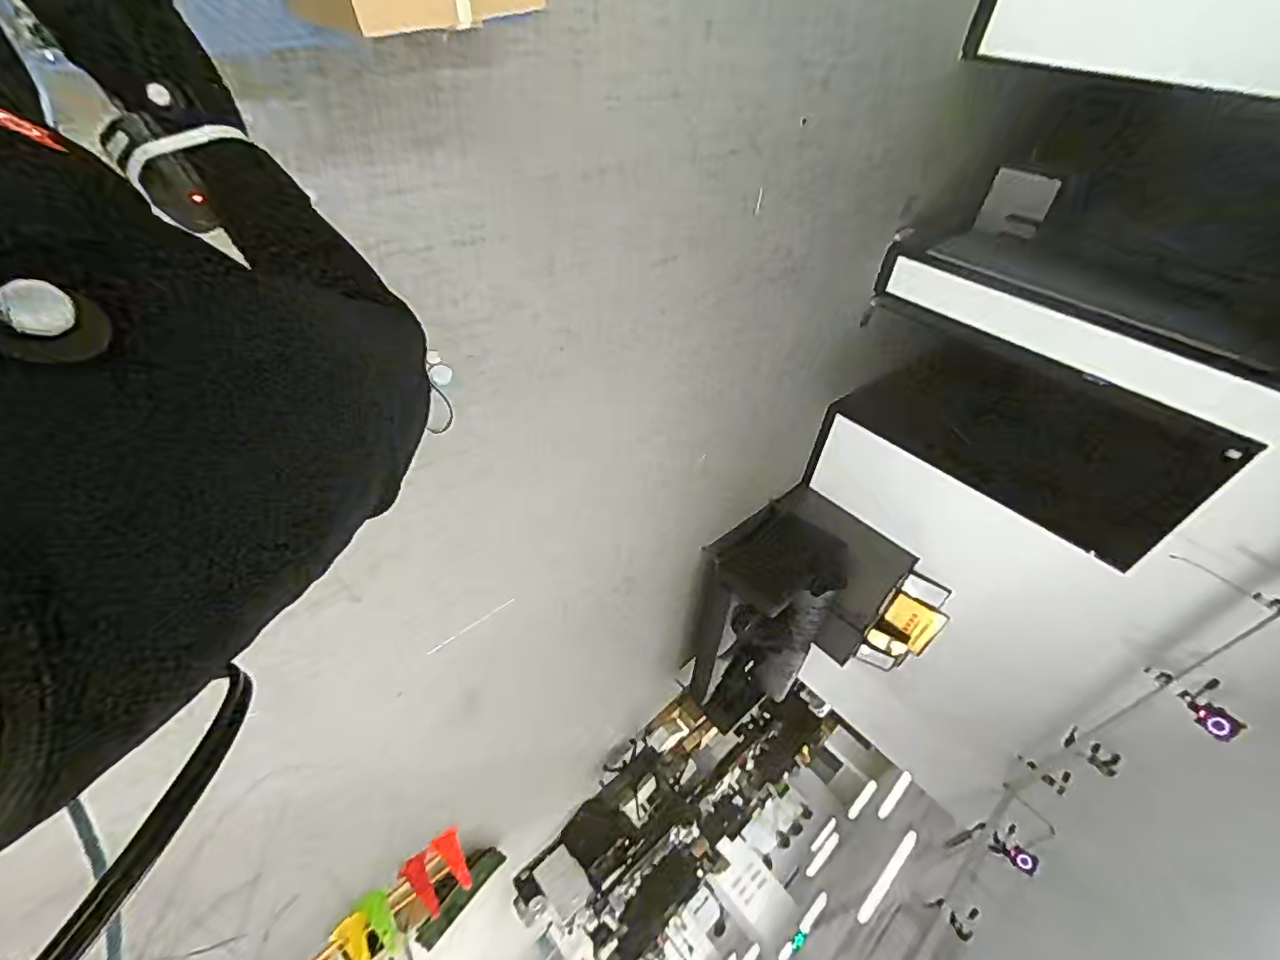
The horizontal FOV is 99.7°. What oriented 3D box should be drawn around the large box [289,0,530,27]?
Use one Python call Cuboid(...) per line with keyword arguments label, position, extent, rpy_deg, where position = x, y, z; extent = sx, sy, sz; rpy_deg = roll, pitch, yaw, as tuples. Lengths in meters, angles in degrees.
Cuboid(label="large box", position=(-0.380, -0.909, 0.738), extent=(0.320, 0.320, 0.408), rpy_deg=(-33, 144, -26))
